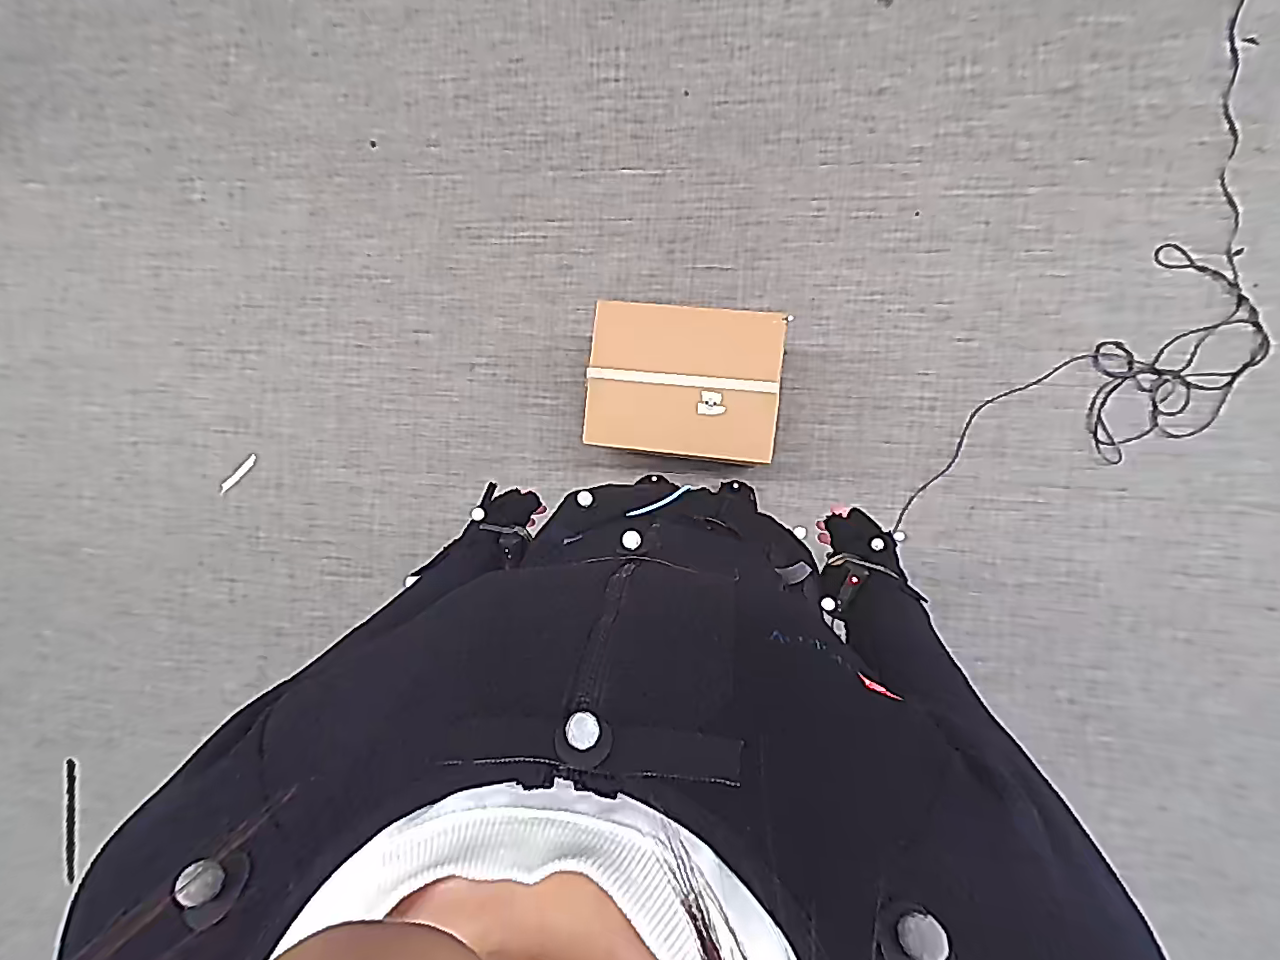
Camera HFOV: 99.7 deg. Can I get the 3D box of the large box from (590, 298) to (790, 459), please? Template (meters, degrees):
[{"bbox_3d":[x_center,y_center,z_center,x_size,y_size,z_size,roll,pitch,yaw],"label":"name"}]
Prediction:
[{"bbox_3d":[0.116,-0.222,1.290,0.408,0.320,0.320,6,92,7],"label":"large box"}]
